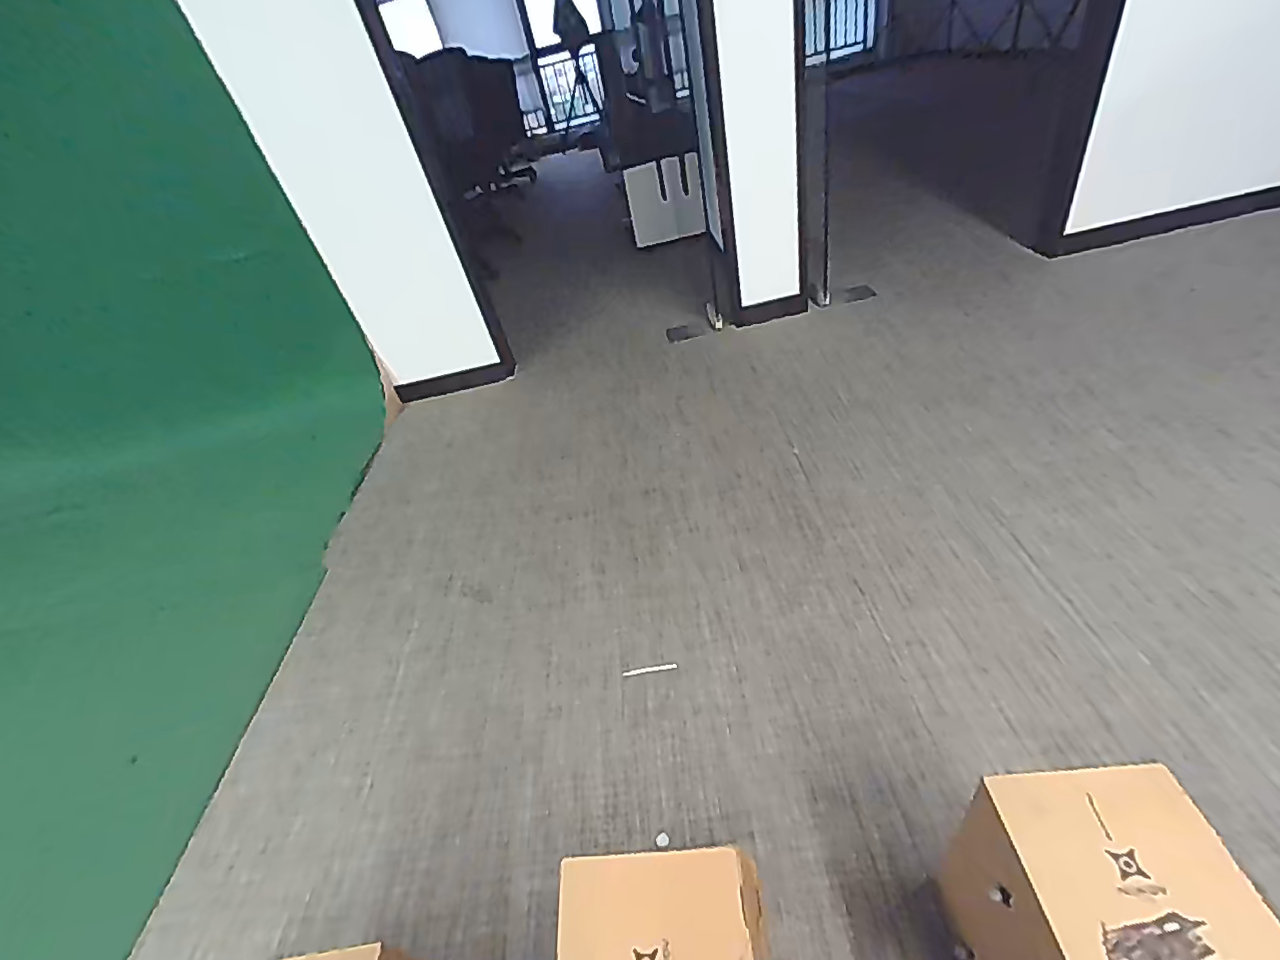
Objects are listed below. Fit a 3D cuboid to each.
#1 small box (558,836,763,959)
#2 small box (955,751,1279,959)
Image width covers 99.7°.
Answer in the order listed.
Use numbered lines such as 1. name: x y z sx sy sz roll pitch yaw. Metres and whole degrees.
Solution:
1. small box: 0.027 0.464 0.538 0.179 0.176 0.168 -10 52 8
2. small box: 0.428 0.387 0.512 0.168 0.176 0.179 -9 38 8
